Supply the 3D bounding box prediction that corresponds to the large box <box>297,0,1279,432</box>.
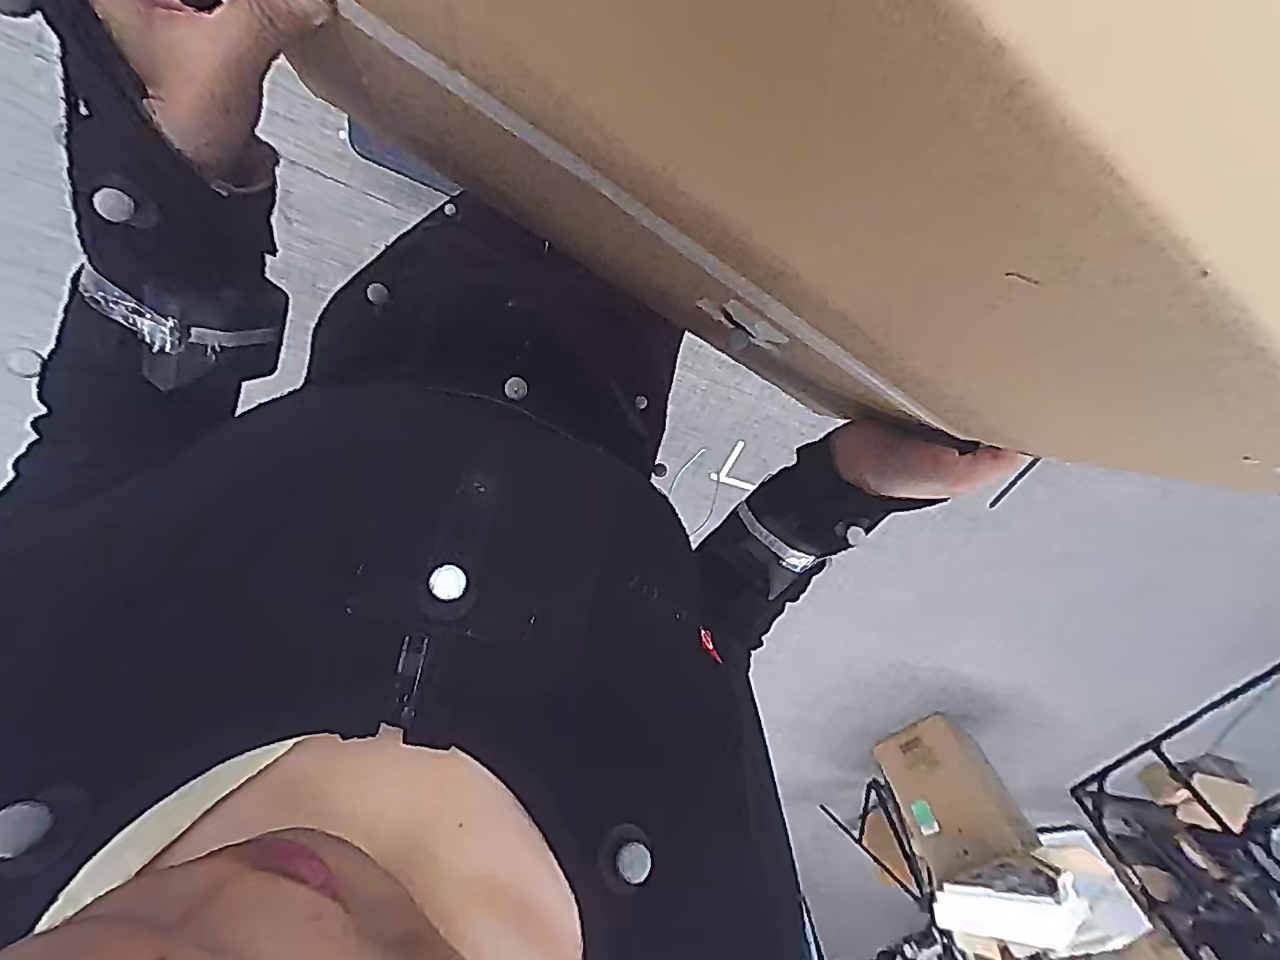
[{"bbox_3d":[0.106,-0.254,0.197,0.408,0.320,0.320,26,96,-19],"label":"large box"}]
